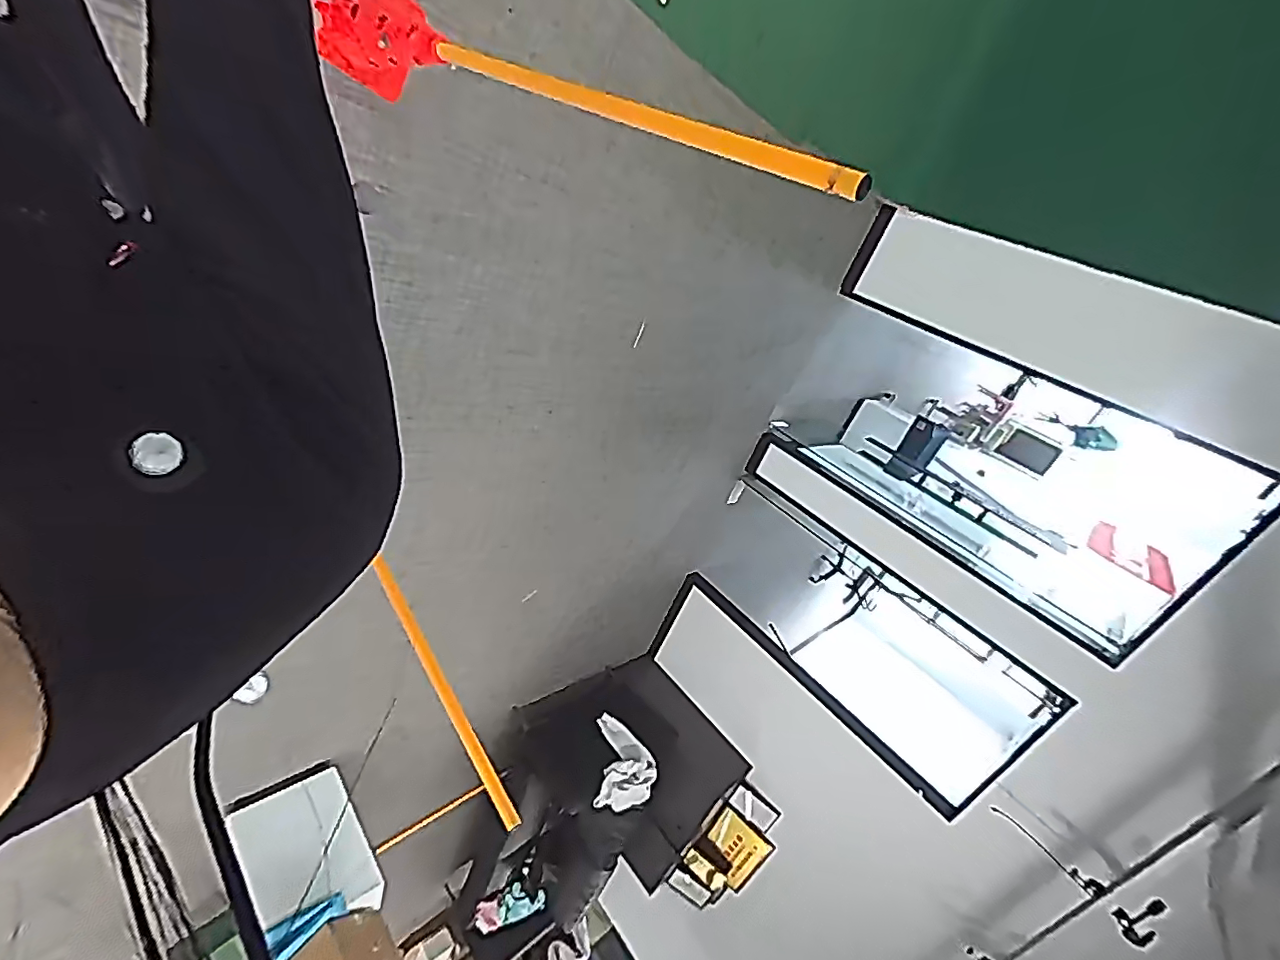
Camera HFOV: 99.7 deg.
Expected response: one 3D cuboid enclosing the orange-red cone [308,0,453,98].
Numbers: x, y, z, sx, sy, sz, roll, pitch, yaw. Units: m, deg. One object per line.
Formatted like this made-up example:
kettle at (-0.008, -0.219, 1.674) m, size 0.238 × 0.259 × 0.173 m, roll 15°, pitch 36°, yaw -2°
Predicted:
orange-red cone at (-0.455, -0.856, 1.041) m, size 0.198 × 0.360 × 0.199 m, roll 10°, pitch 116°, yaw -53°
